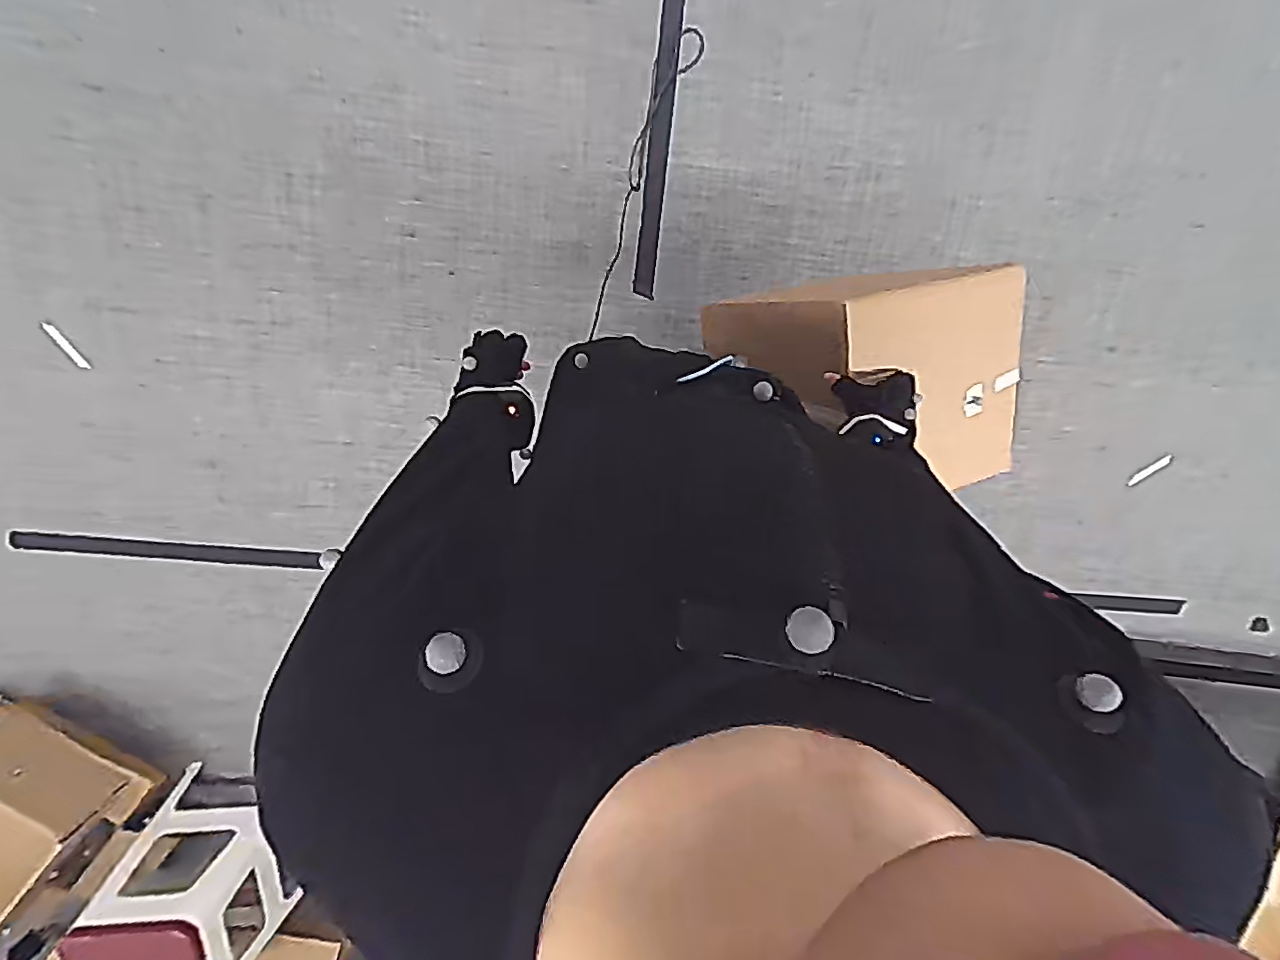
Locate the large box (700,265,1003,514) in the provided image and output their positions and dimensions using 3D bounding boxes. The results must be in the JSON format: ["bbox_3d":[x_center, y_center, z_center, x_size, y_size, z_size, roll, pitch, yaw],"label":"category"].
[{"bbox_3d":[0.348,-0.178,0.960,0.320,0.408,0.320,-15,111,-15],"label":"large box"}]
